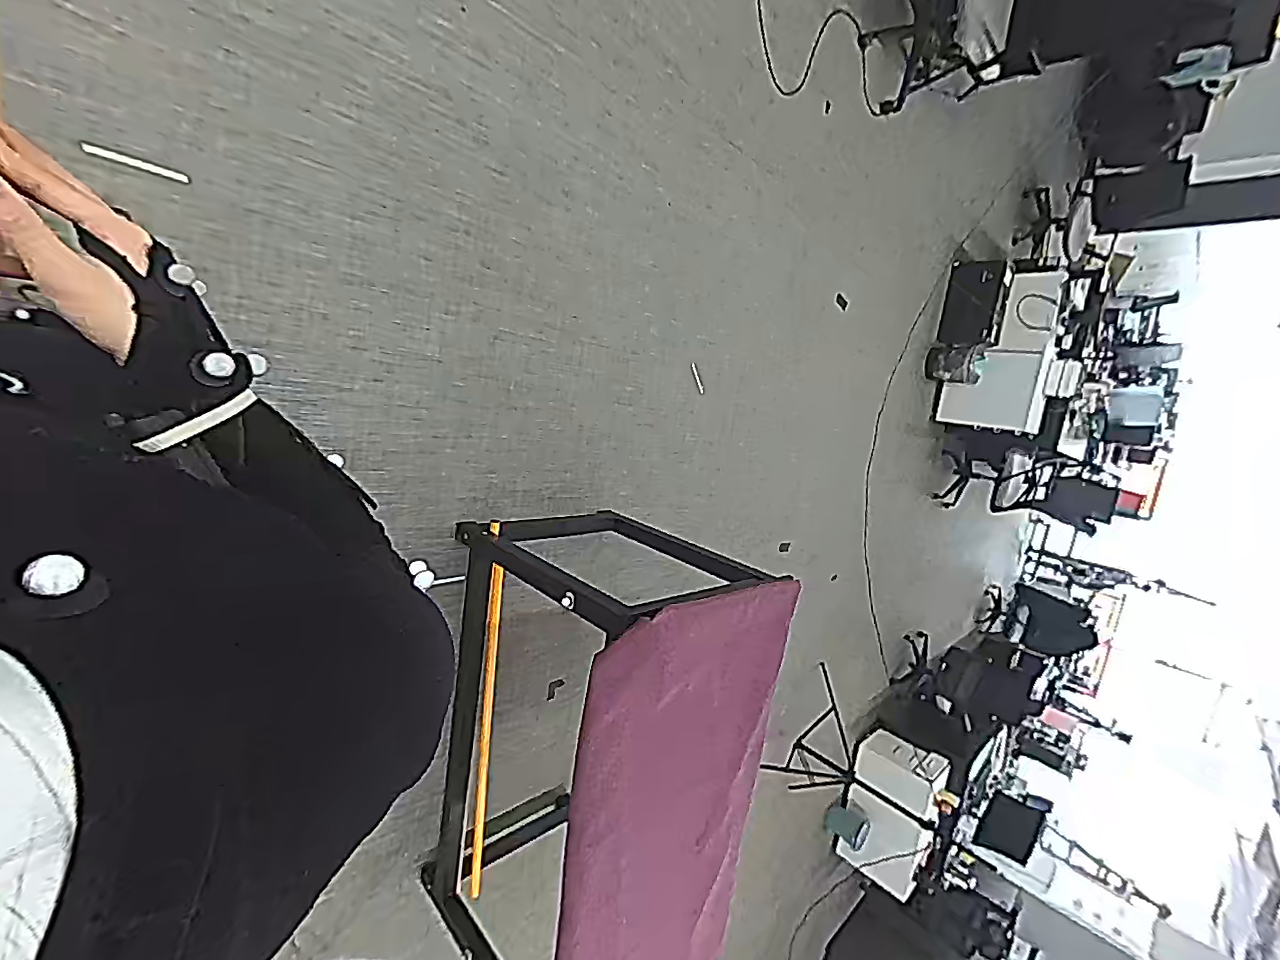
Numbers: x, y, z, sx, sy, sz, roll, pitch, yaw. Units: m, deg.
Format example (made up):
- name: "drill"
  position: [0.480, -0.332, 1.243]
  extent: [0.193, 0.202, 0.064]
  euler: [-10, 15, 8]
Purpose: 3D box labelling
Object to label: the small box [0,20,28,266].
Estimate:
- name: "small box"
  position: [-0.414, -0.206, 0.242]
  extent: [0.168, 0.176, 0.179]
  euler: [-5, 103, -43]
